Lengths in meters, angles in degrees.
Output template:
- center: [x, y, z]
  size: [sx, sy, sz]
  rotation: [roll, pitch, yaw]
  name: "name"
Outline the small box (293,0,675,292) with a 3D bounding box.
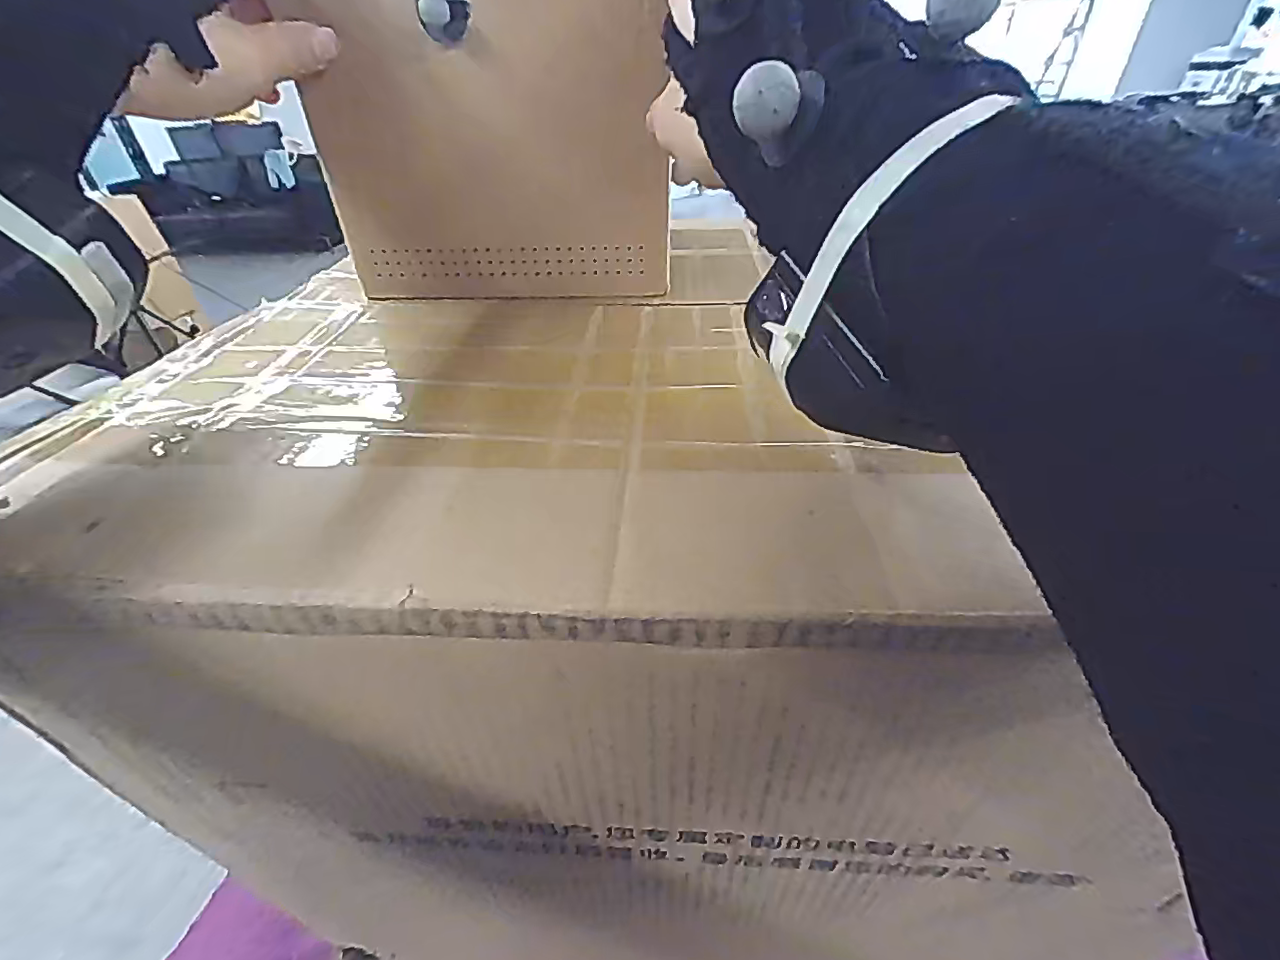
- center: [-0.069, -0.218, 0.318]
  size: [0.179, 0.176, 0.168]
  rotation: [0, 38, 1]
  name: "small box"
